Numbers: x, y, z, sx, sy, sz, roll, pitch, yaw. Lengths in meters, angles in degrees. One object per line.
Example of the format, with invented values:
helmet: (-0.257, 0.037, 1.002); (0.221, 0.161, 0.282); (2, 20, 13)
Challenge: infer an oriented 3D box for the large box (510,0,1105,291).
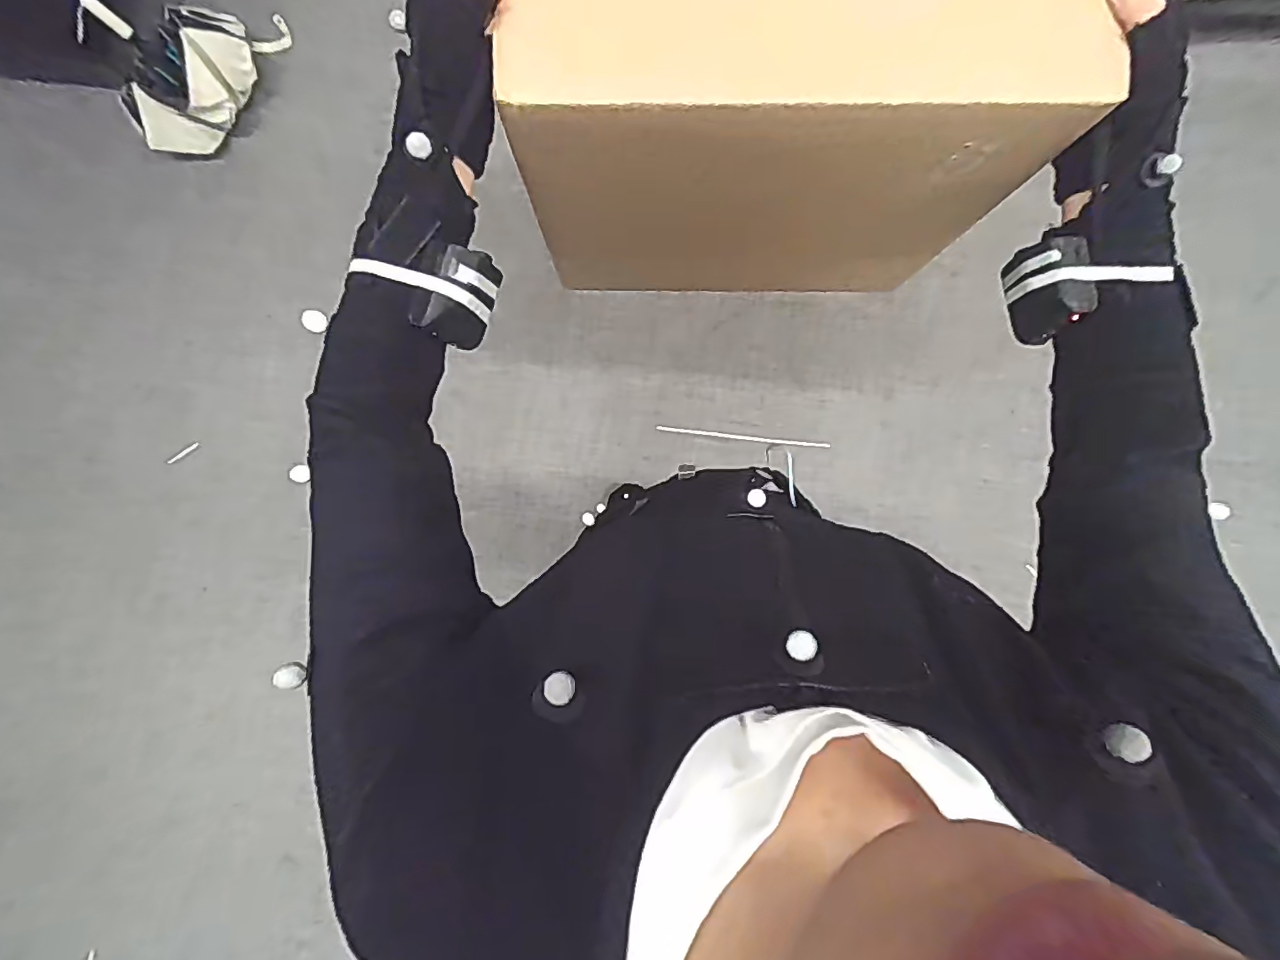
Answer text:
large box: (0.106, -0.391, 0.513); (0.408, 0.320, 0.320); (-1, 88, -1)
